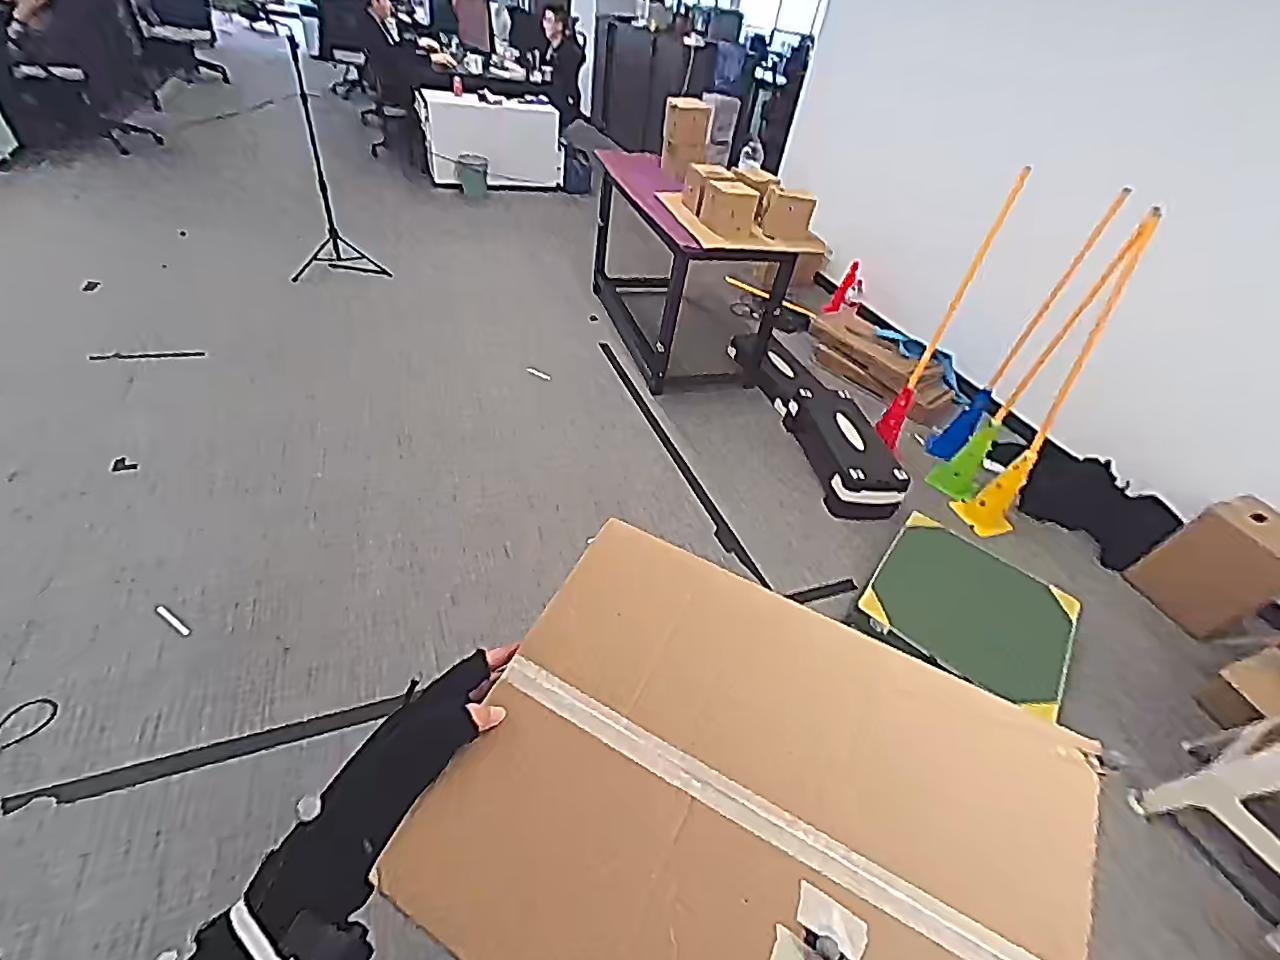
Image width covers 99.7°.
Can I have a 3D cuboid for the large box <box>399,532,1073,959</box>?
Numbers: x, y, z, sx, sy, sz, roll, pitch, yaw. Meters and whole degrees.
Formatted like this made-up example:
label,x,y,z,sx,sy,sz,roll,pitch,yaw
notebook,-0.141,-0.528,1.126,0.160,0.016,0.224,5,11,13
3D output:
label,x,y,z,sx,sy,sz,roll,pitch,yaw
large box,0.080,0.316,0.505,0.408,0.320,0.320,24,59,17
